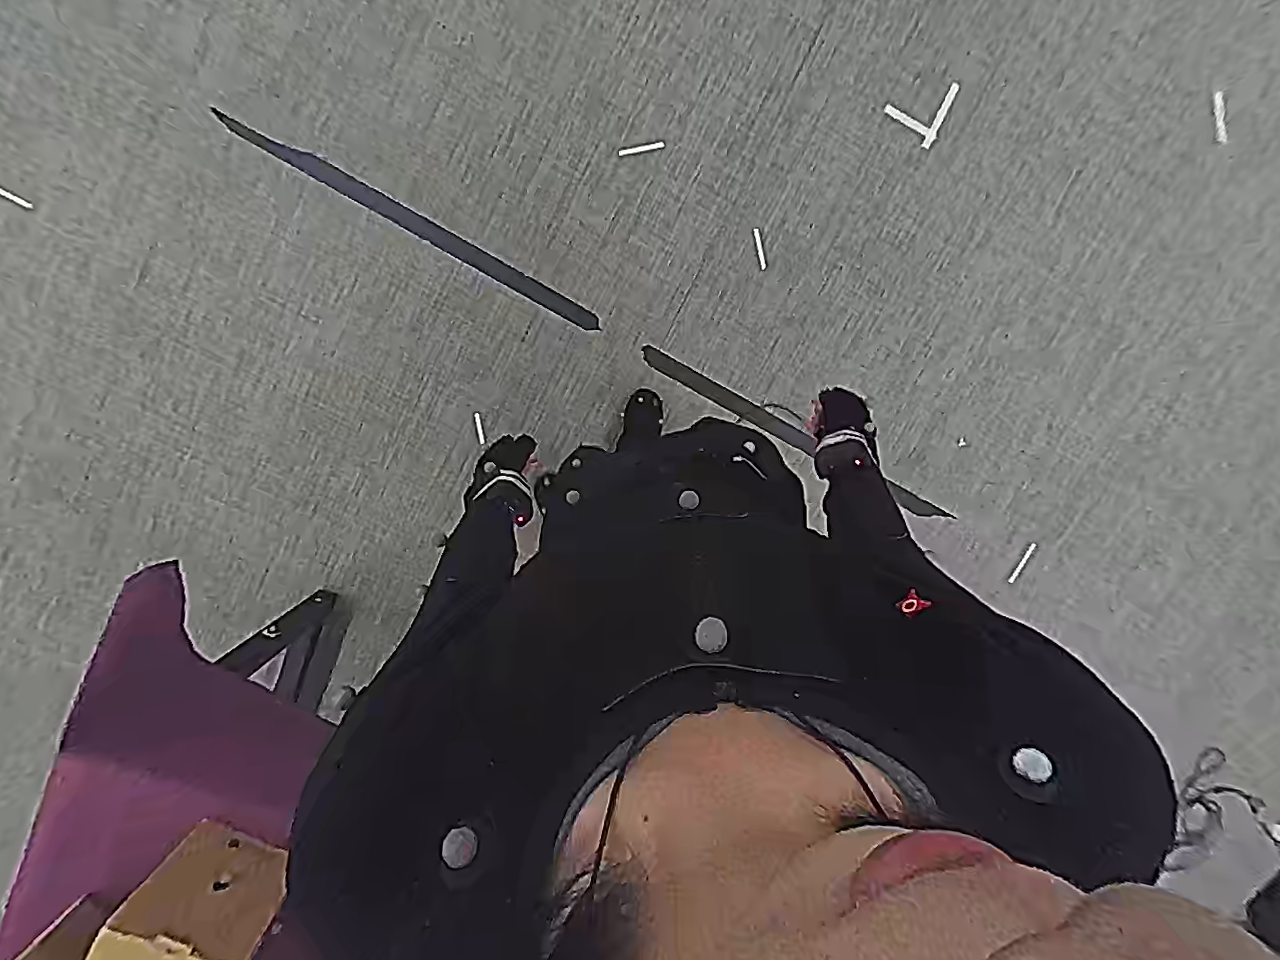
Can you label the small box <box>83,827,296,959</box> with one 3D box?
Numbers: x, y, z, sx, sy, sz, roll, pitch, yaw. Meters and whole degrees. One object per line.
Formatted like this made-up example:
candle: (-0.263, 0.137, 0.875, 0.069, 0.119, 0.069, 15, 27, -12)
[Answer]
small box: (-0.612, 0.624, 0.735, 0.168, 0.176, 0.179, 28, 96, -7)
